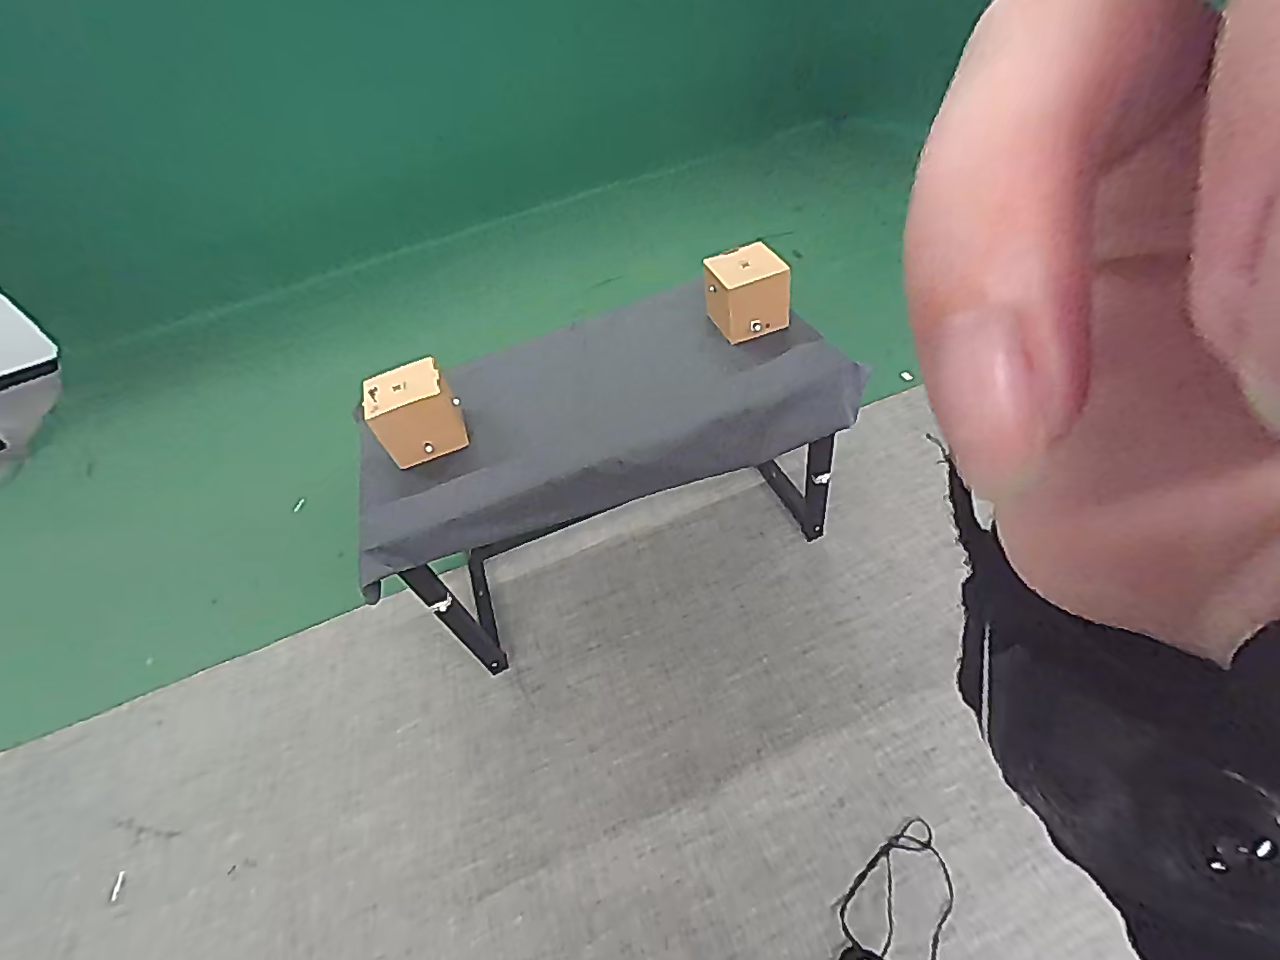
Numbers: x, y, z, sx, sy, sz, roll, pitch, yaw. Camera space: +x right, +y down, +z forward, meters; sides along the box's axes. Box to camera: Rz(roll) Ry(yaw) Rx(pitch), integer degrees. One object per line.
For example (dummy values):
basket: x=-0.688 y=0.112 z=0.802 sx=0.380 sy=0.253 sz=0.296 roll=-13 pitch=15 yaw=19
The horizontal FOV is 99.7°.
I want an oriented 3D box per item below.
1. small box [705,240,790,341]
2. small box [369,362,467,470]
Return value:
small box: x=0.280 y=-0.493 z=1.415 sx=0.168 sy=0.176 sz=0.179 roll=-19 pitch=47 yaw=-1
small box: x=-0.536 y=-0.154 z=1.323 sx=0.179 sy=0.176 sz=0.168 roll=-21 pitch=47 yaw=-8
